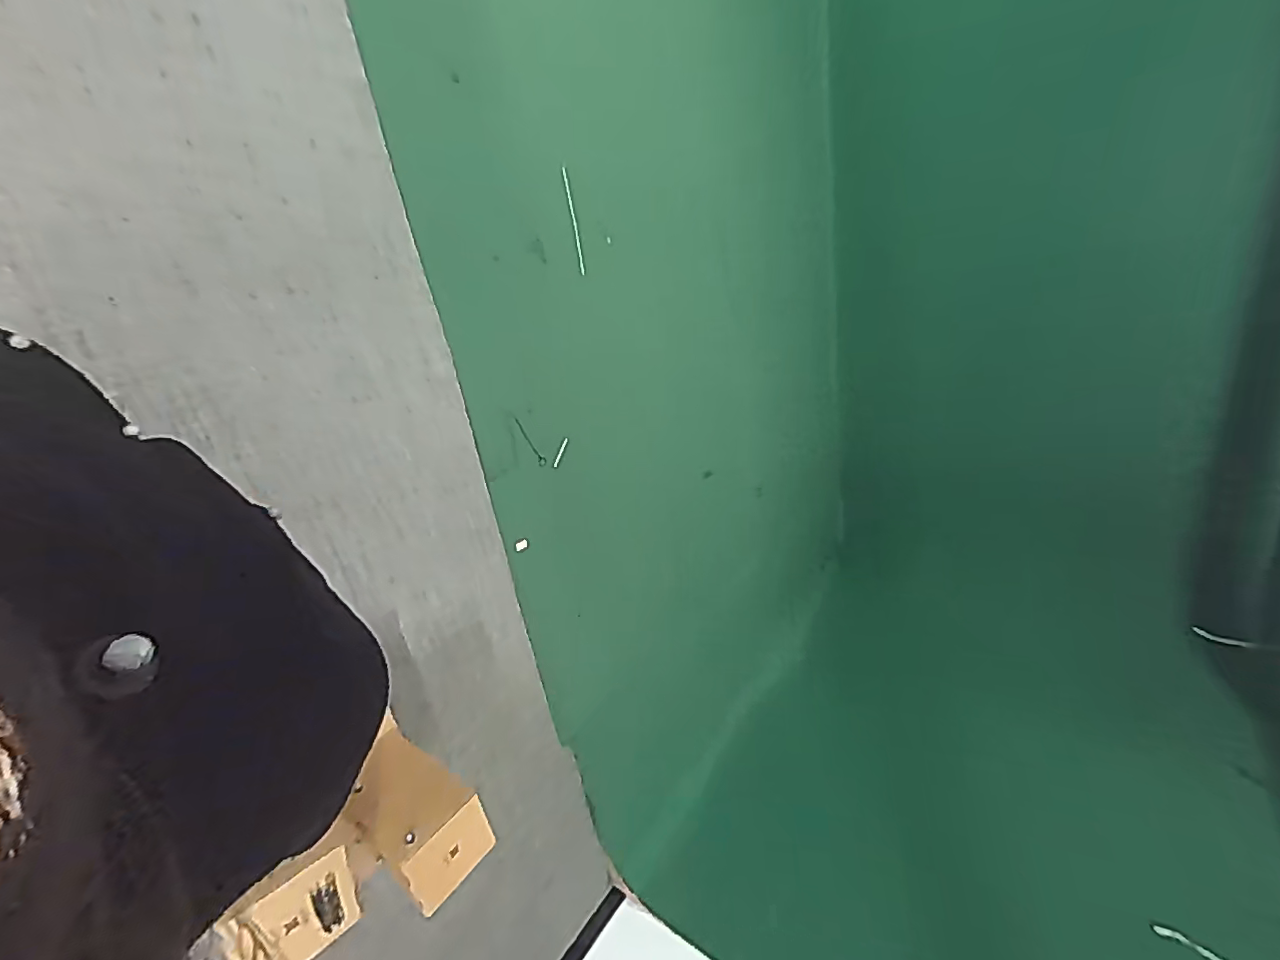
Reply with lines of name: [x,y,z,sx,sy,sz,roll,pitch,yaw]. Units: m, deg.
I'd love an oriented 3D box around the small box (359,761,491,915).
small box: [-0.451,0.740,1.139,0.179,0.176,0.168,-33,123,-43]

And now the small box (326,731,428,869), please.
small box: [-0.583,0.719,1.234,0.179,0.176,0.168,-35,124,-43]
